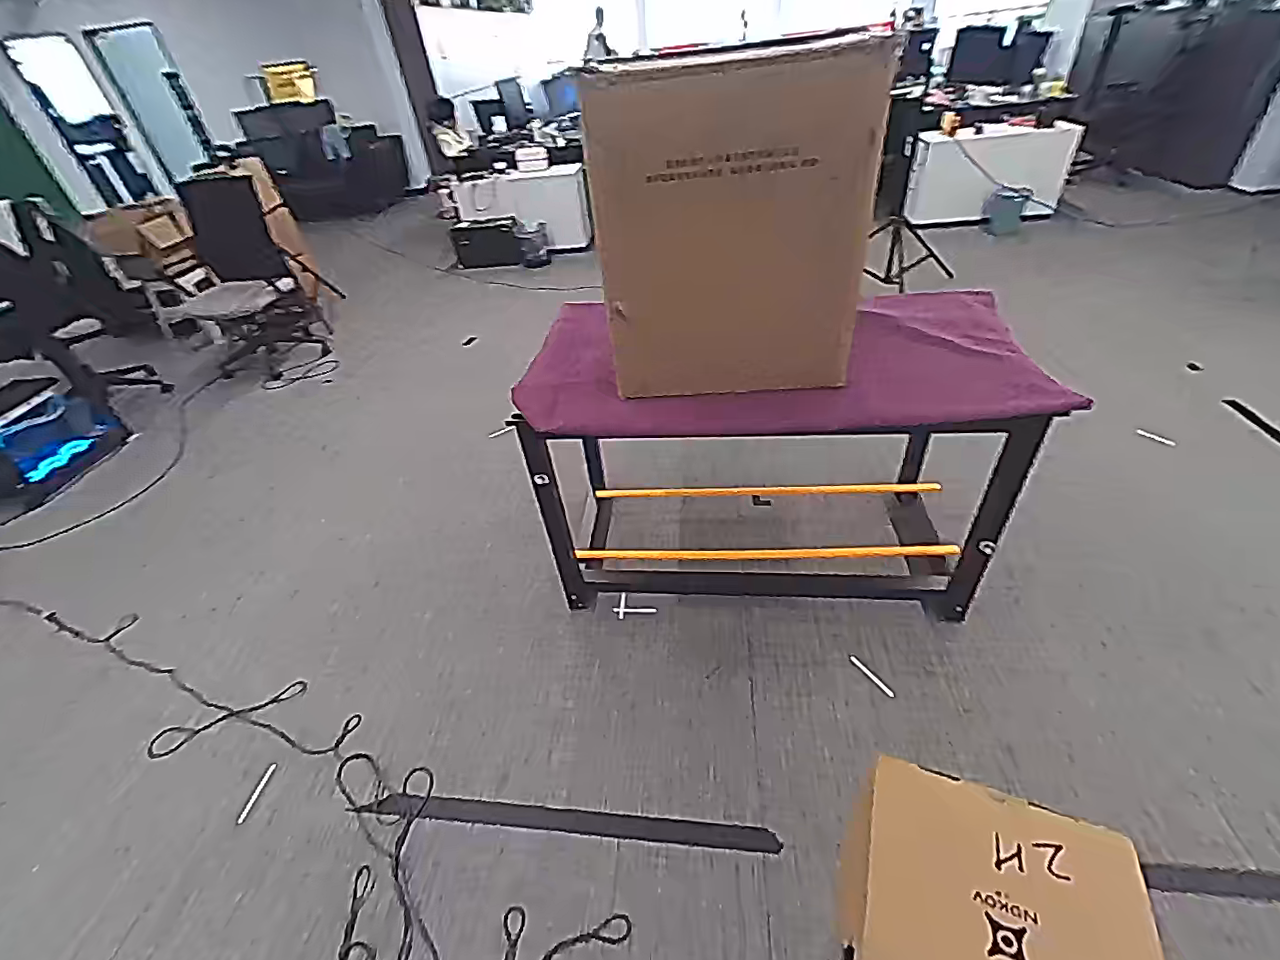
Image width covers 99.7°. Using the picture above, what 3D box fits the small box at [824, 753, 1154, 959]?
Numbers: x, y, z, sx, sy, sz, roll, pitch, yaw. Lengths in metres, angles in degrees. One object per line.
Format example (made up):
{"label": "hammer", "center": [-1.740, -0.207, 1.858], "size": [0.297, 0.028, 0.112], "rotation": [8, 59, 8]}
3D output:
{"label": "small box", "center": [0.233, 0.346, 0.390], "size": [0.168, 0.176, 0.179], "rotation": [12, 39, 19]}
